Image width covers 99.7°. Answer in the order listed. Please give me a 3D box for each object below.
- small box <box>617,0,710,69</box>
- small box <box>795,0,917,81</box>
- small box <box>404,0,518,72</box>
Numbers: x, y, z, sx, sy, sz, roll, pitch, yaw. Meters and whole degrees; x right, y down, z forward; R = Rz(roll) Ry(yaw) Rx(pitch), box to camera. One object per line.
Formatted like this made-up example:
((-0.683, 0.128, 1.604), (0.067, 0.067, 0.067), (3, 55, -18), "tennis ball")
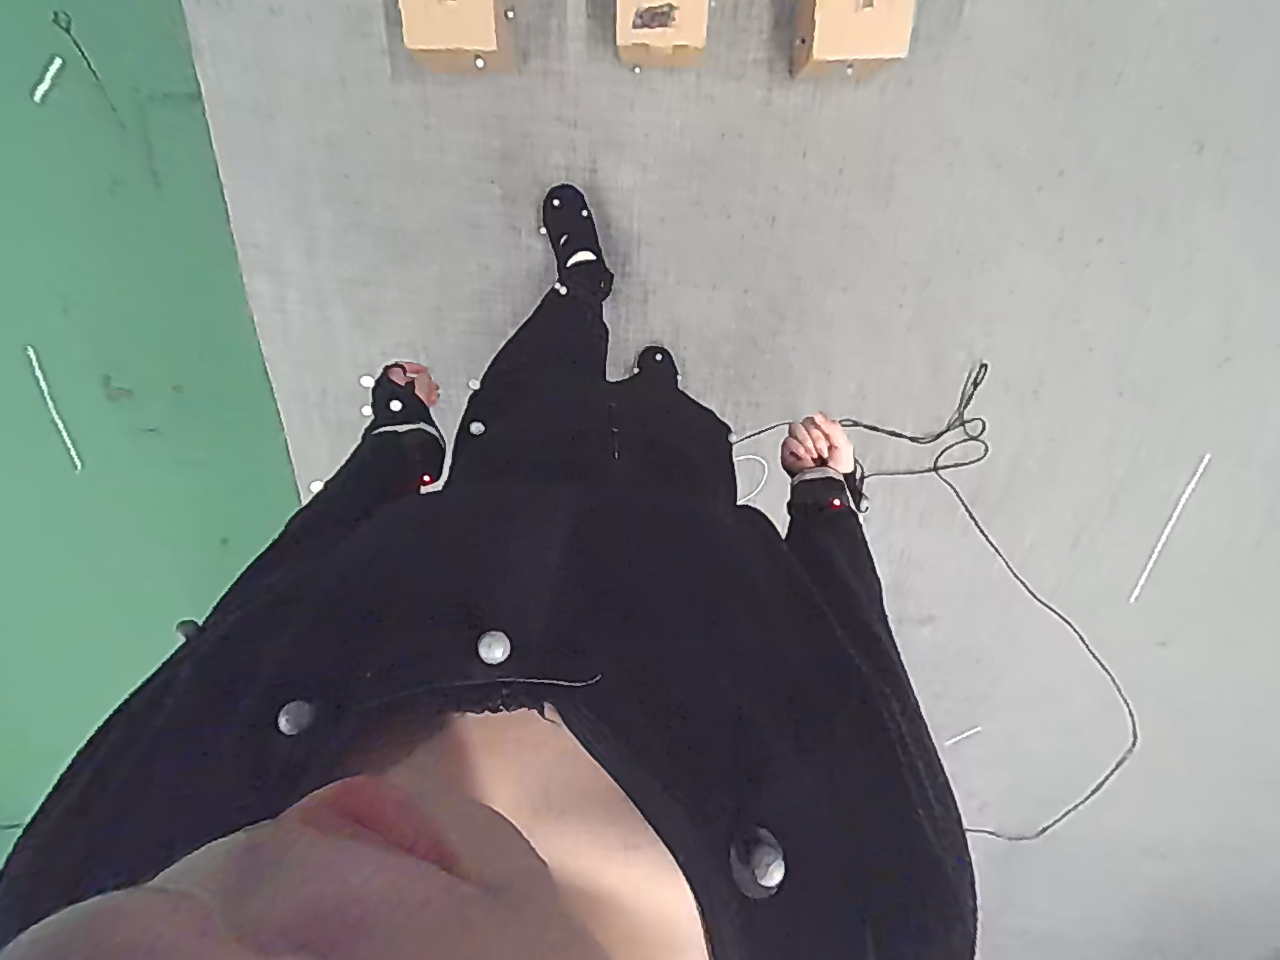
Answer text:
((0.050, -0.906, 1.024), (0.168, 0.176, 0.179), (4, 115, 1), "small box")
((0.402, -0.871, 1.021), (0.179, 0.176, 0.168), (2, 116, 2), "small box")
((-0.339, -0.912, 1.044), (0.179, 0.176, 0.168), (3, 115, 2), "small box")
